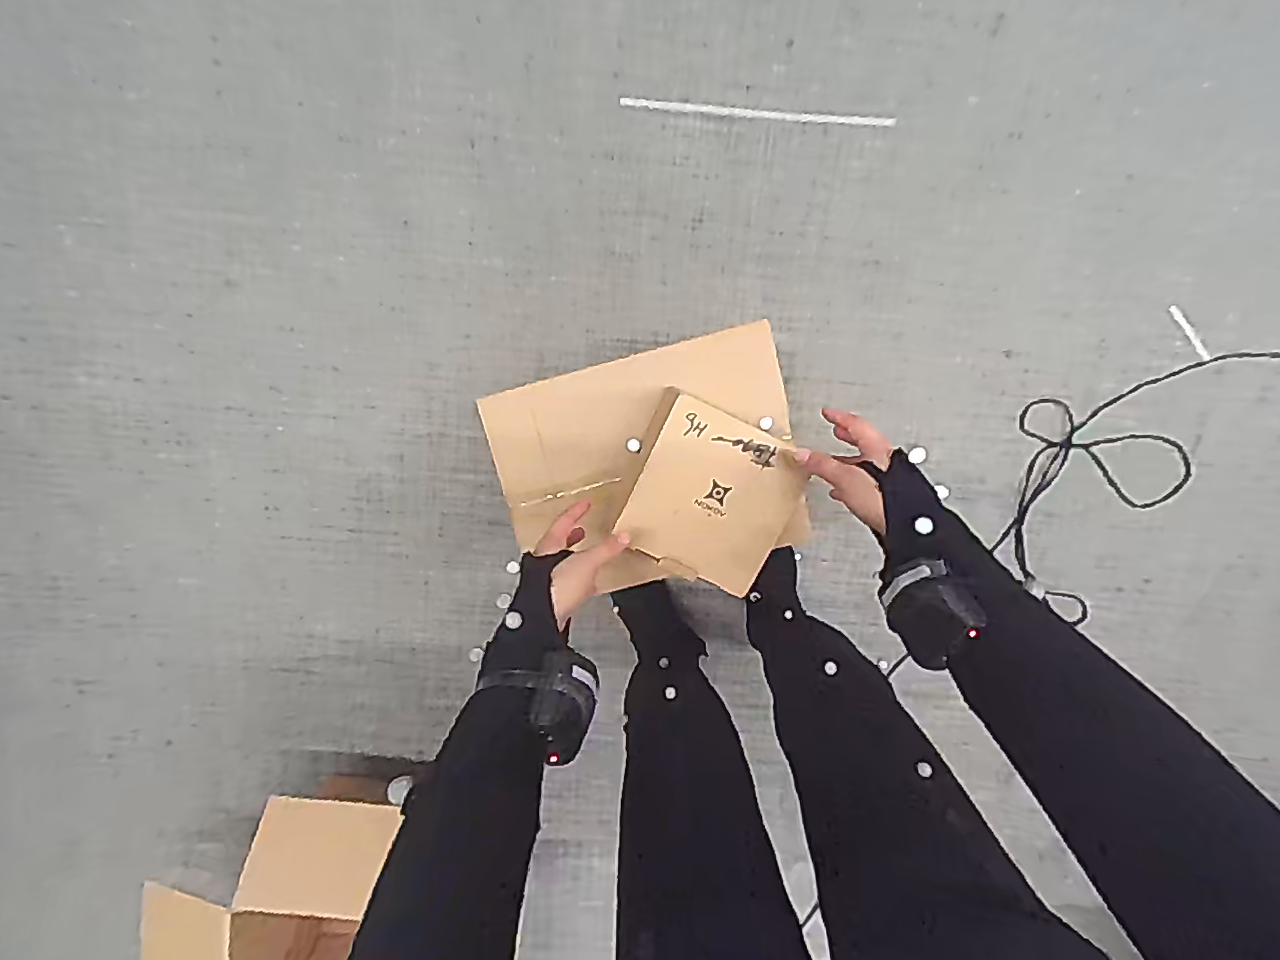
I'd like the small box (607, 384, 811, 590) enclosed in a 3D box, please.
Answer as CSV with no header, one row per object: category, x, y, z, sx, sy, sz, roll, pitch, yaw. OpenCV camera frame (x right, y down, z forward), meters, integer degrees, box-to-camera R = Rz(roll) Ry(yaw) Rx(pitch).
small box,0.074,-0.003,0.657,0.168,0.176,0.179,25,101,-6
